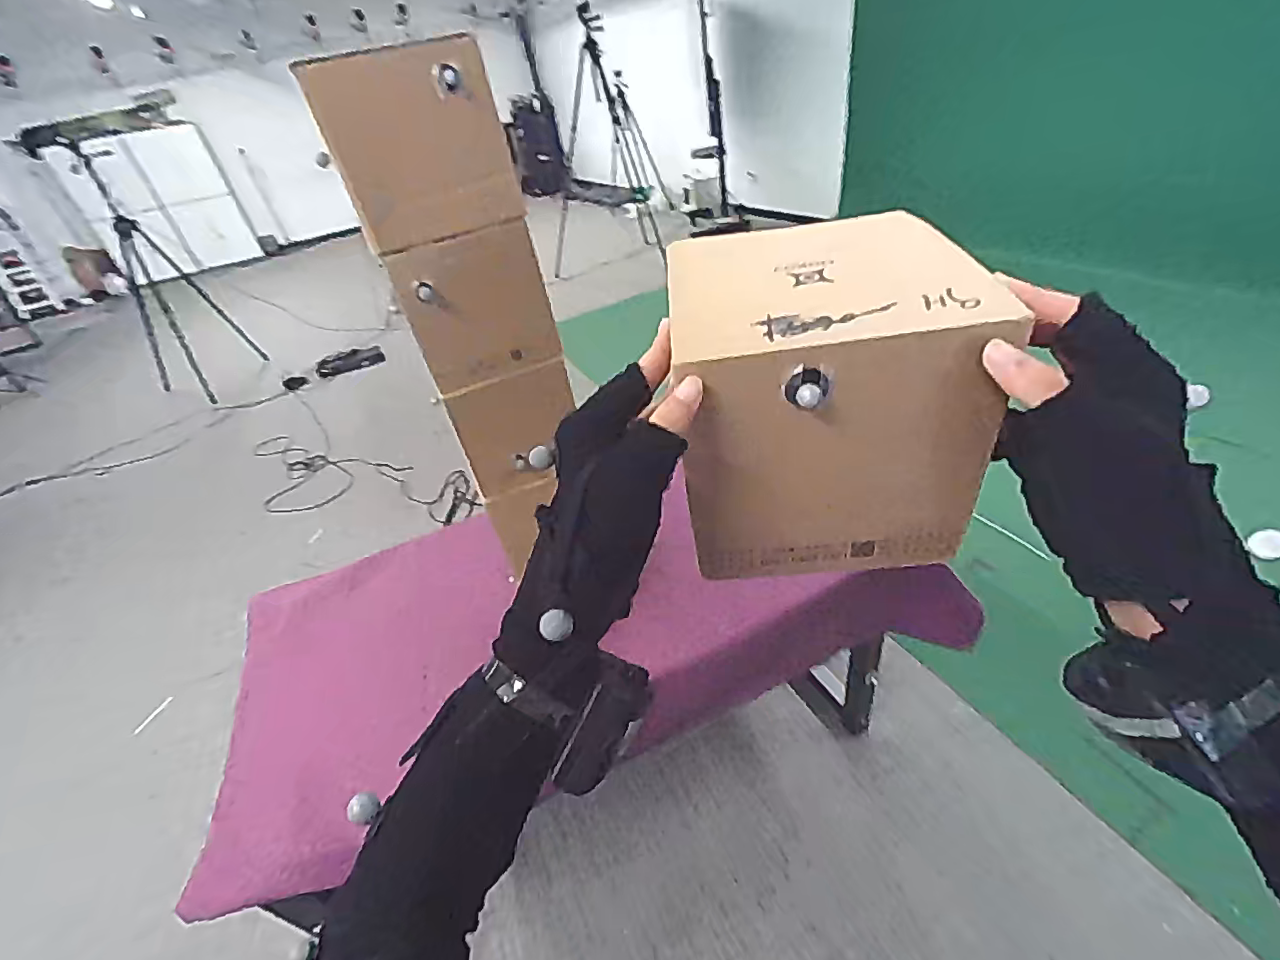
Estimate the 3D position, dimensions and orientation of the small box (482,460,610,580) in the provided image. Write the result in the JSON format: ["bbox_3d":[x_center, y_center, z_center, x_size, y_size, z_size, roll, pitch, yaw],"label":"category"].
[{"bbox_3d":[-0.165,0.031,0.897,0.168,0.176,0.179,-22,38,-14],"label":"small box"}]

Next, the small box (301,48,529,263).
[{"bbox_3d":[-0.248,-0.361,0.618,0.179,0.176,0.168,-22,36,-15],"label":"small box"}]

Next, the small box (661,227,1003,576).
[{"bbox_3d":[0.106,-0.056,0.378,0.168,0.176,0.179,-6,39,7],"label":"small box"}]

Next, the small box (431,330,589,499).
[{"bbox_3d":[-0.192,-0.100,0.805,0.168,0.176,0.179,-22,38,-14],"label":"small box"}]

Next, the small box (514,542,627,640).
[{"bbox_3d":[-0.136,0.165,0.988,0.168,0.176,0.179,-22,37,-14],"label":"small box"}]
